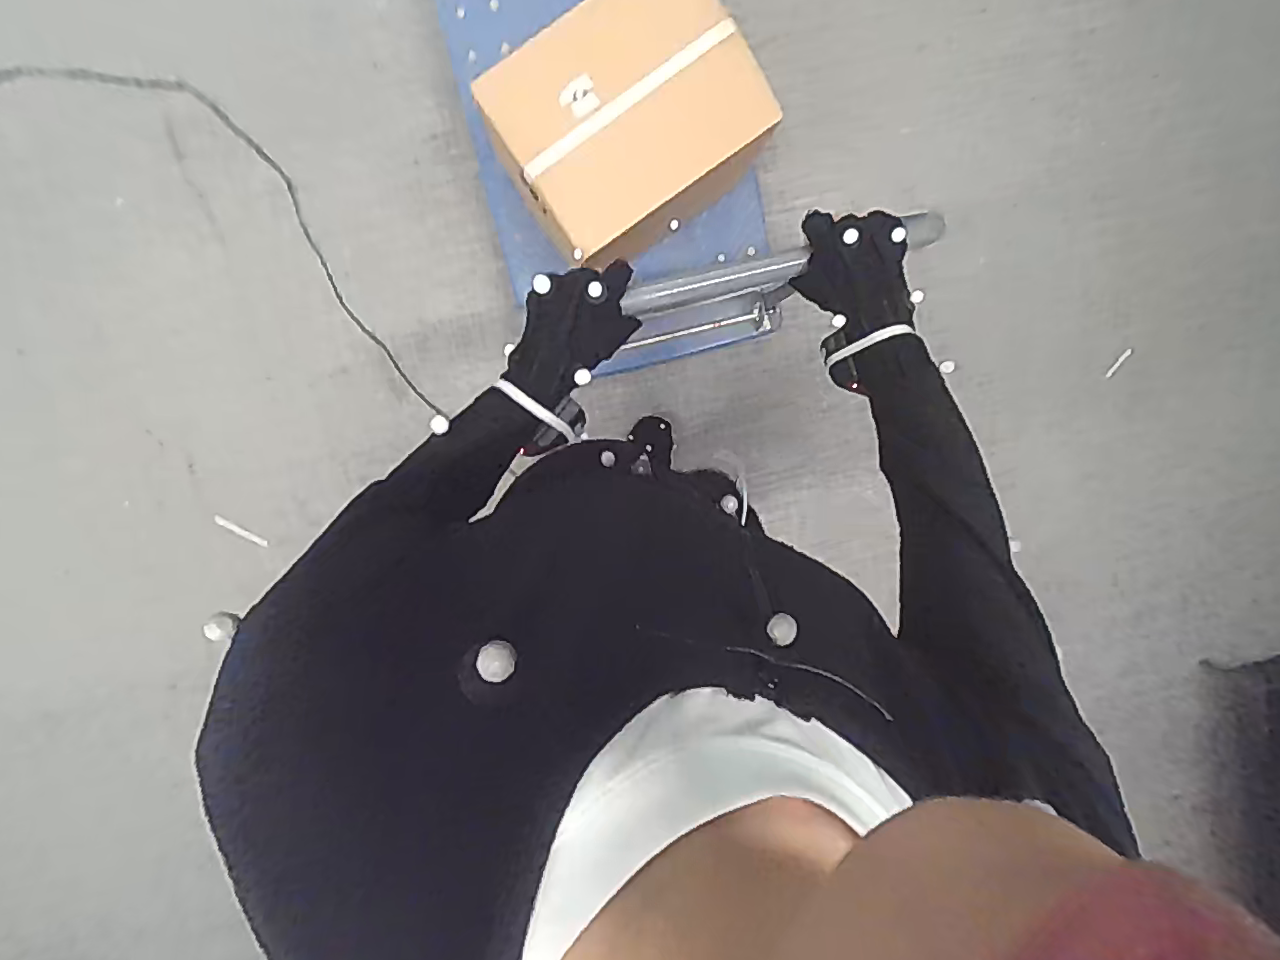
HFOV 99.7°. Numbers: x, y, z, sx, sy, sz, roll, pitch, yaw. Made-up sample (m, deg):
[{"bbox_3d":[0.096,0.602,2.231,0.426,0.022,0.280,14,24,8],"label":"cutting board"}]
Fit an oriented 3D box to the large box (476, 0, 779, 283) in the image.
[{"bbox_3d":[-0.025,-0.635,1.011,0.408,0.320,0.320,-34,100,3],"label":"large box"}]
